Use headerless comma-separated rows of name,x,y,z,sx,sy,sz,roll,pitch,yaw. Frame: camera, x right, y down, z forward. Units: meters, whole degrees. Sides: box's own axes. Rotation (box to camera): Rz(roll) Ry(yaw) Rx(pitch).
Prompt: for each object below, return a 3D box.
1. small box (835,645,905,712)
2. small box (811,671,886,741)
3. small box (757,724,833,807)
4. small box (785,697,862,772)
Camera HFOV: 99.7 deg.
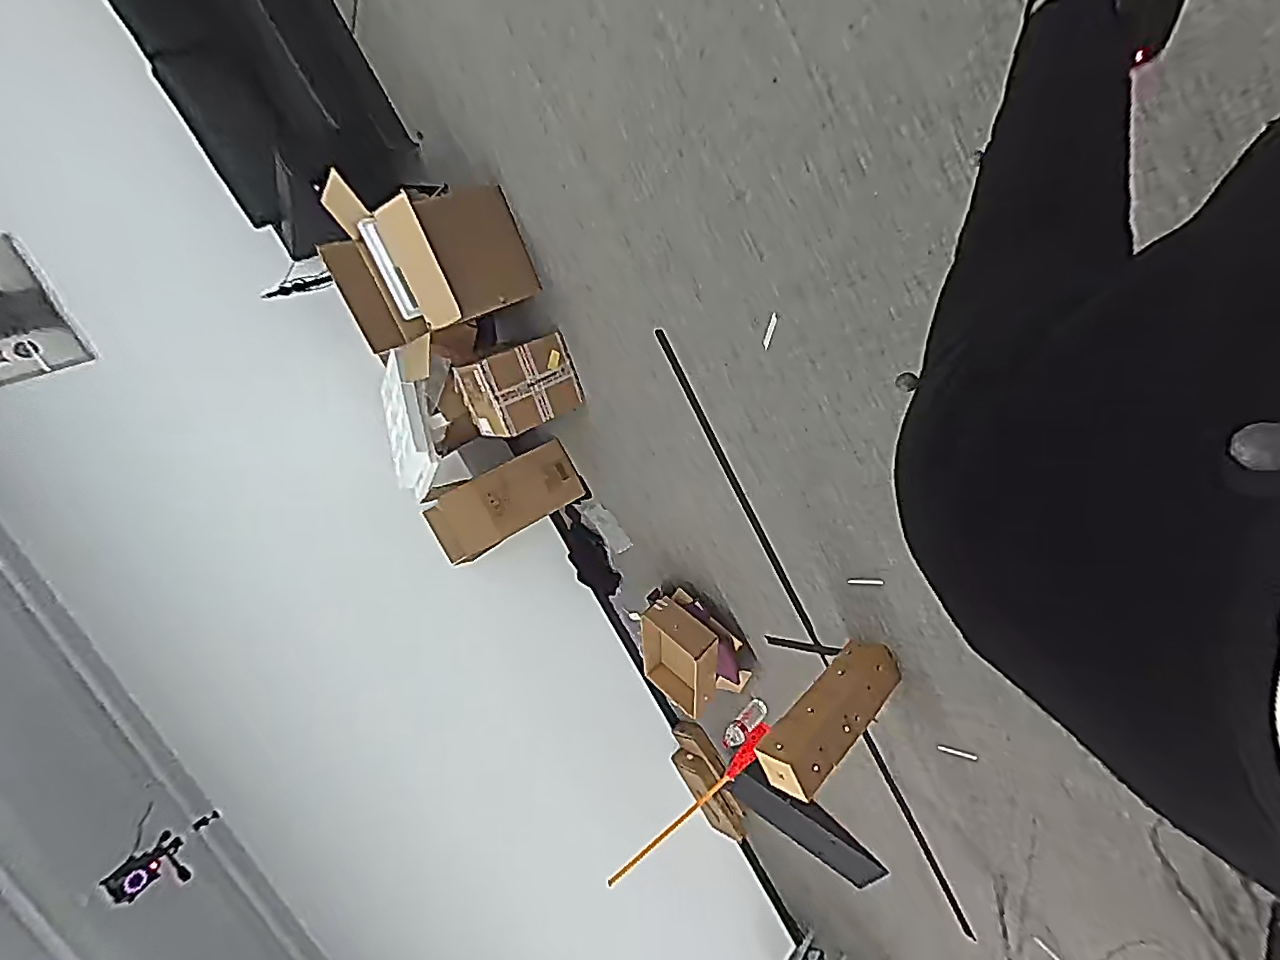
small box,0.924,0.789,2.168,0.168,0.176,0.179,-15,106,59
small box,0.804,0.862,2.083,0.179,0.176,0.168,-18,102,60
small box,0.557,1.003,1.917,0.179,0.176,0.168,-10,108,58
small box,0.680,0.932,1.999,0.179,0.176,0.168,-18,101,58
